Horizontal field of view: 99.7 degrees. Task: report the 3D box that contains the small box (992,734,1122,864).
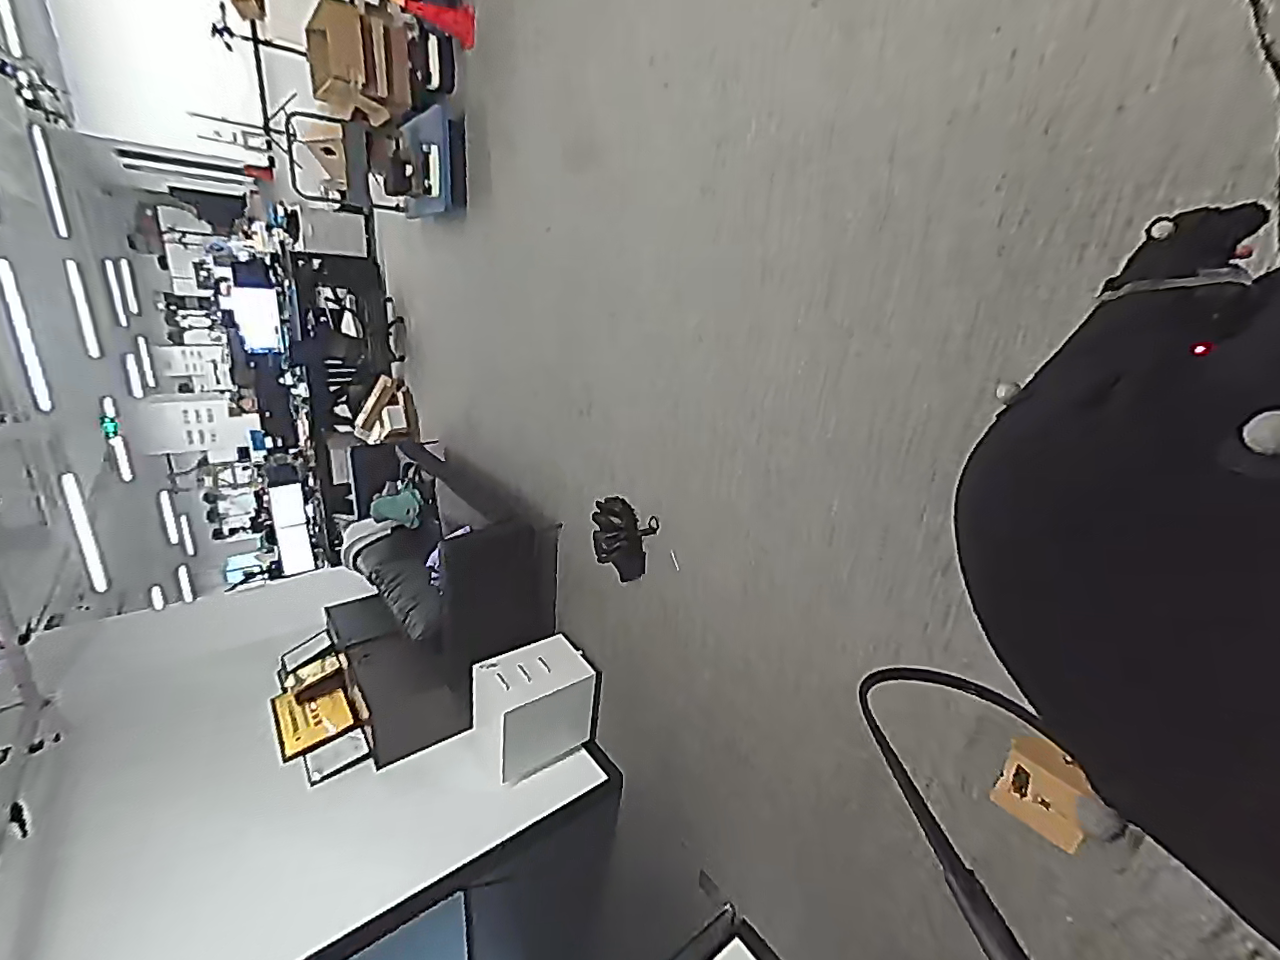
[{"bbox_3d":[0.974,0.729,1.266,0.179,0.176,0.168,28,120,45],"label":"small box"}]
